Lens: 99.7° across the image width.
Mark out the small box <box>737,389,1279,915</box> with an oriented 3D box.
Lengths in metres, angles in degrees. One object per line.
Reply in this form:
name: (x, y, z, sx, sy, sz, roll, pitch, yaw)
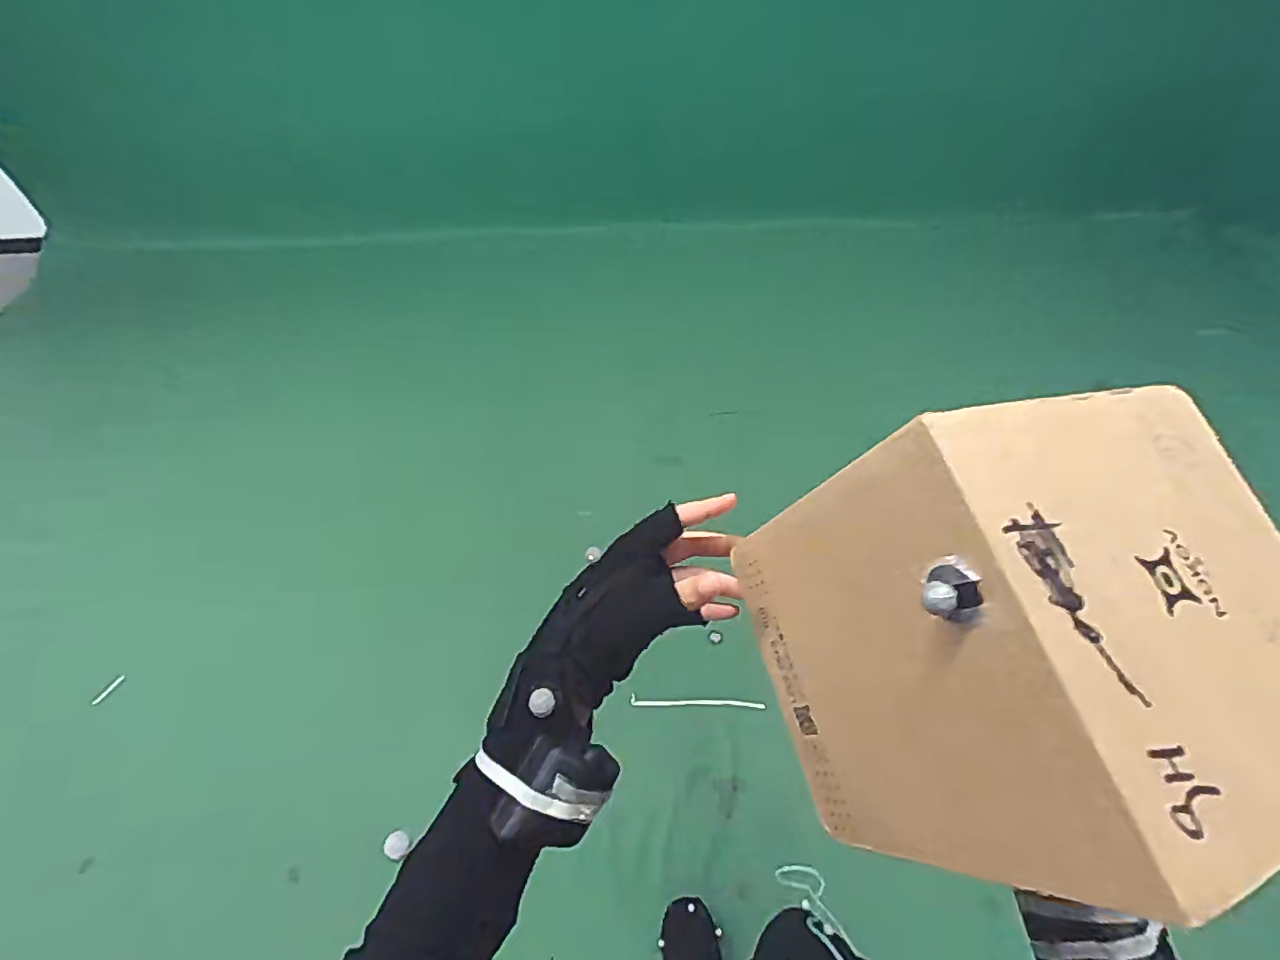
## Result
small box: (0.180, 0.069, 0.275, 0.179, 0.176, 0.168, -7, 67, -24)
